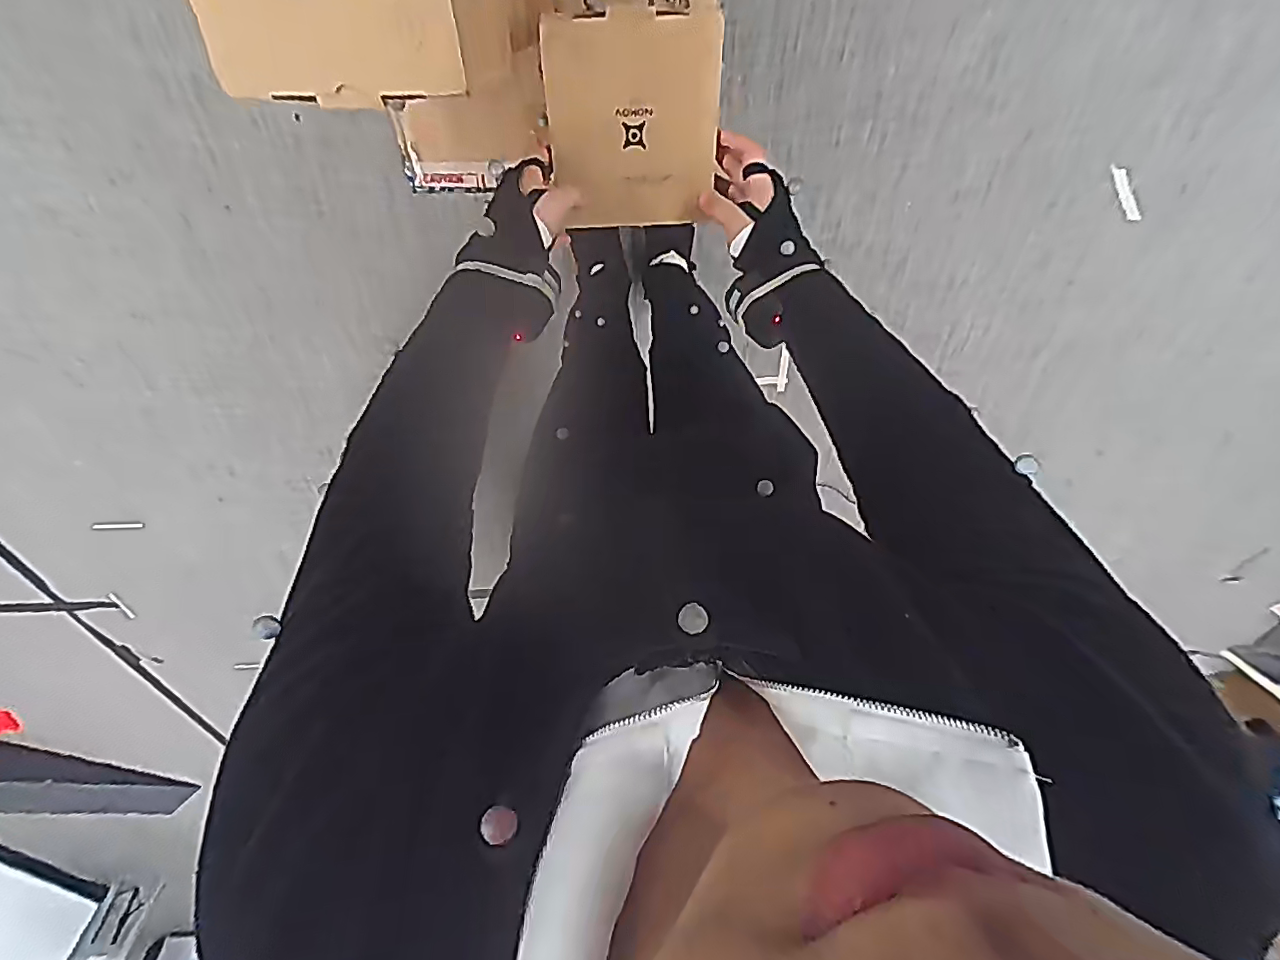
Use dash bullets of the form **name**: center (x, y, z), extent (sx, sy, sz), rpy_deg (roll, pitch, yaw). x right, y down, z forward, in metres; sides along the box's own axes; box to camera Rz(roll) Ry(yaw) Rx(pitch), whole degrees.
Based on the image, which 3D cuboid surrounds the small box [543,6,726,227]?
- **small box**: center (-0.007, -0.395, 0.587), extent (0.168, 0.176, 0.179), rpy_deg (-3, 132, 0)

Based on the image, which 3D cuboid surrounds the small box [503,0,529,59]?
- **small box**: center (-0.204, -0.493, 0.491), extent (0.168, 0.176, 0.179), rpy_deg (-2, 132, 1)

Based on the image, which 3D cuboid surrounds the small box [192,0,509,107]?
- **small box**: center (-0.197, -0.377, 0.373), extent (0.168, 0.176, 0.179), rpy_deg (-1, 132, 0)
